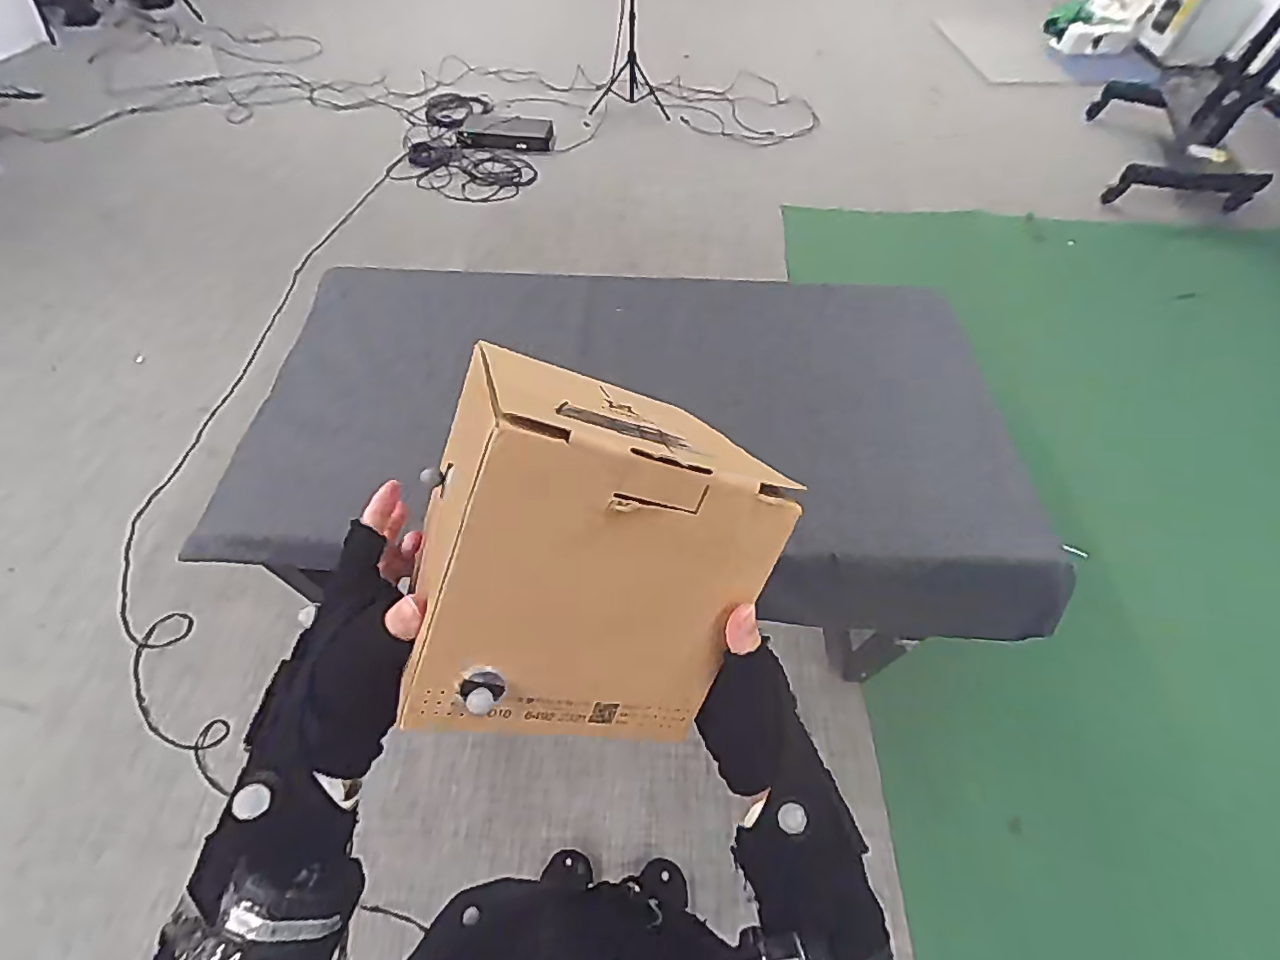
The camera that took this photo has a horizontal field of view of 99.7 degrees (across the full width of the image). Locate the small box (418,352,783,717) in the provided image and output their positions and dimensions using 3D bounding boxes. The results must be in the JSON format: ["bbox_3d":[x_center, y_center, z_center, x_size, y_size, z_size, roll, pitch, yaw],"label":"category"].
[{"bbox_3d":[-0.043,0.033,0.365,0.168,0.176,0.179,15,17,-25],"label":"small box"}]
